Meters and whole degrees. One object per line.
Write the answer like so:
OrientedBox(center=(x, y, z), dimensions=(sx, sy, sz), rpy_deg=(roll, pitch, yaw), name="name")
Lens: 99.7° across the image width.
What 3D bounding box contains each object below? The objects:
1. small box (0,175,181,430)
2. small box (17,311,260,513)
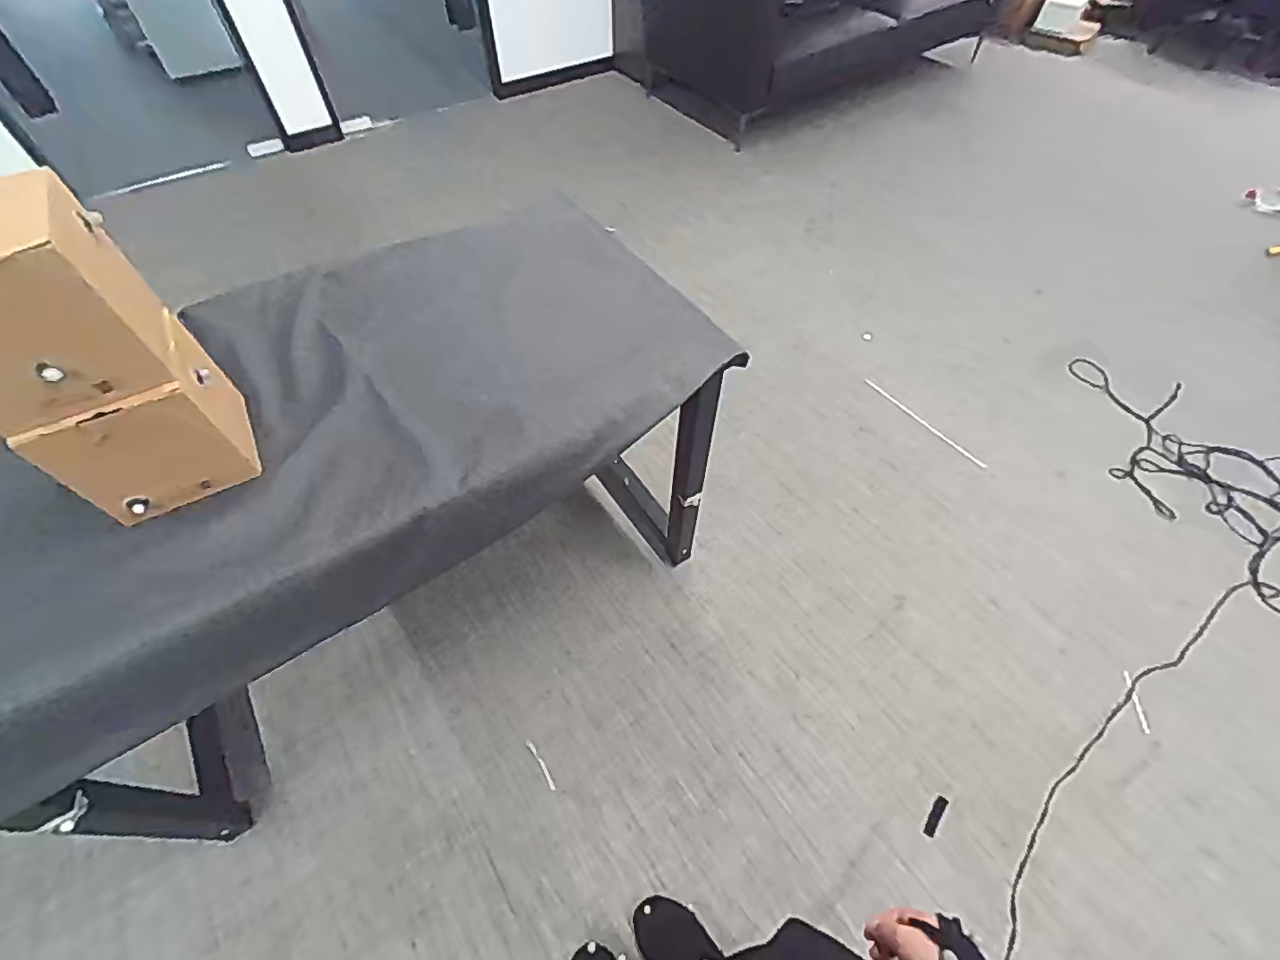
OrientedBox(center=(-0.639, -0.186, 0.574), dimensions=(0.168, 0.176, 0.179), rpy_deg=(-28, 59, -19), name="small box")
OrientedBox(center=(-0.630, -0.080, 0.701), dimensions=(0.168, 0.176, 0.179), rpy_deg=(-26, 58, -18), name="small box")
